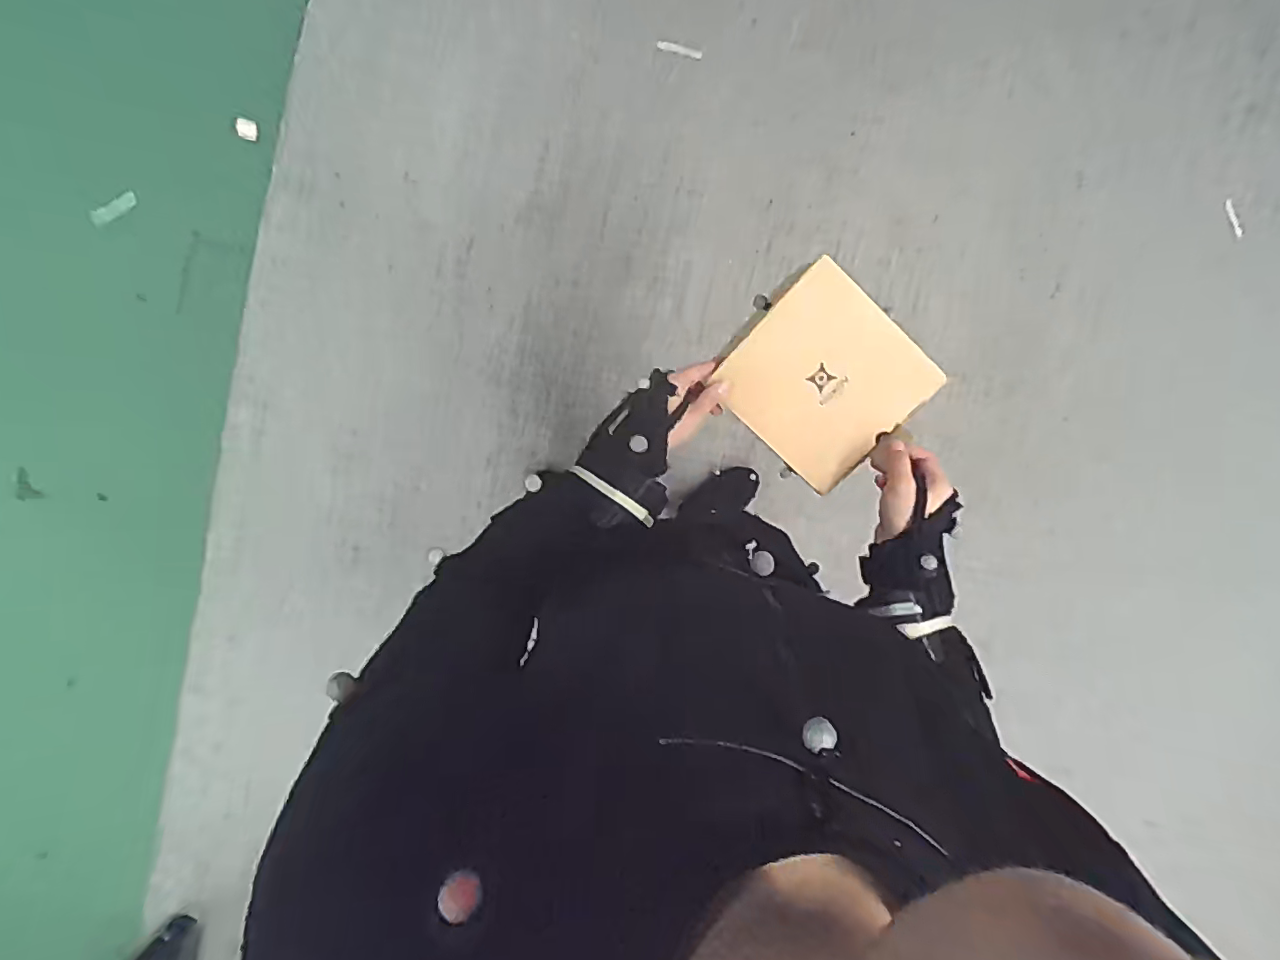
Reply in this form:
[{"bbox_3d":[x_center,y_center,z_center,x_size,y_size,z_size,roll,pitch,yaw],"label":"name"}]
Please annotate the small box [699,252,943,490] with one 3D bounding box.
[{"bbox_3d":[0.181,-0.119,0.606,0.179,0.176,0.168,40,103,-8],"label":"small box"}]
